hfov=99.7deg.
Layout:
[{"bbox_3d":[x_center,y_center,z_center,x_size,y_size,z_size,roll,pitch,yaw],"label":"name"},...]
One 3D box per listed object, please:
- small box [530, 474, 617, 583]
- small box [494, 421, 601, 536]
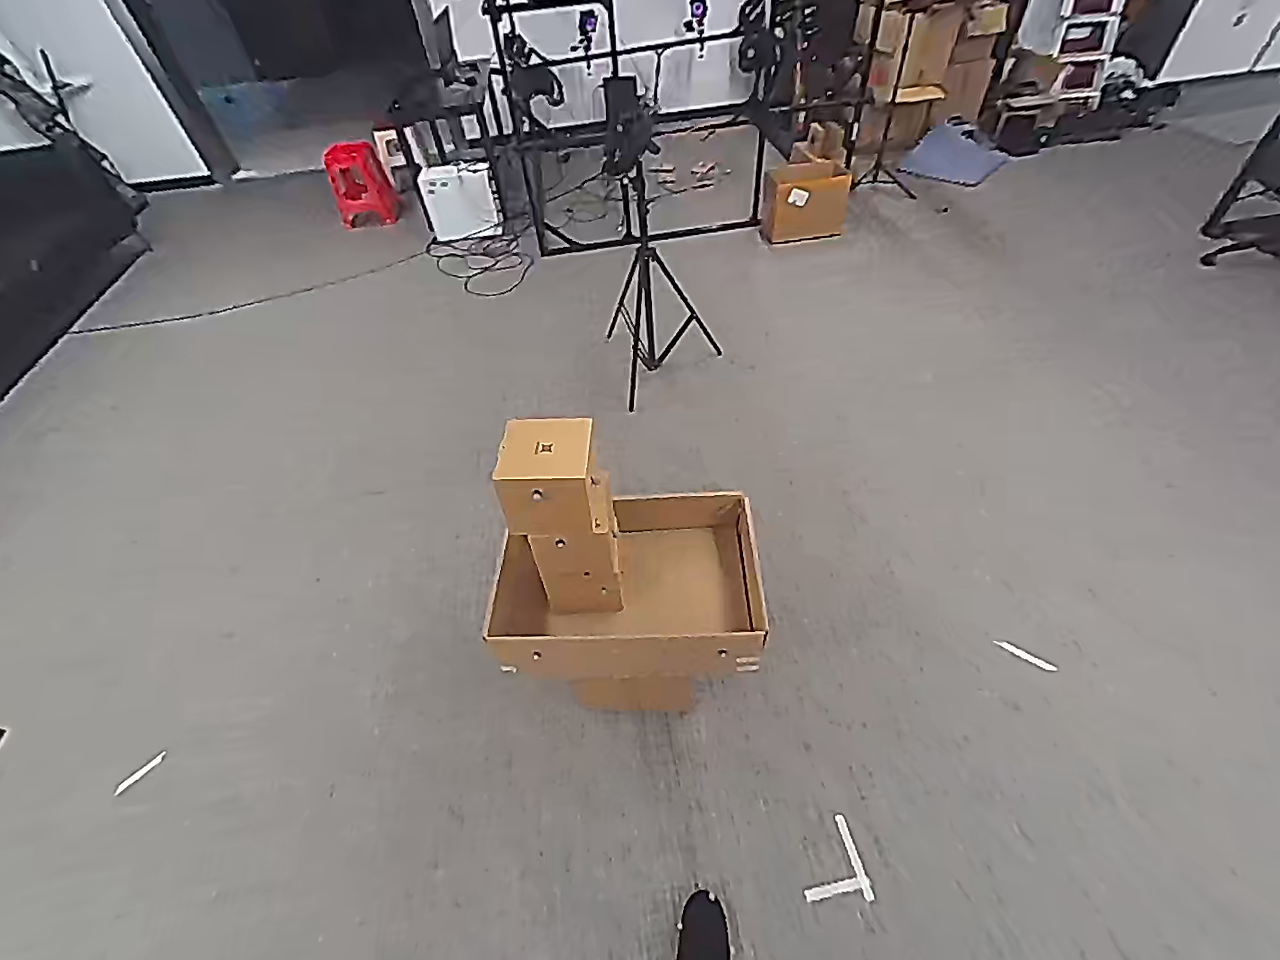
[{"bbox_3d":[-0.140,0.109,1.205,0.168,0.176,0.179,-4,47,1],"label":"small box"},{"bbox_3d":[-0.174,0.000,1.086,0.179,0.176,0.168,-1,47,3],"label":"small box"}]
